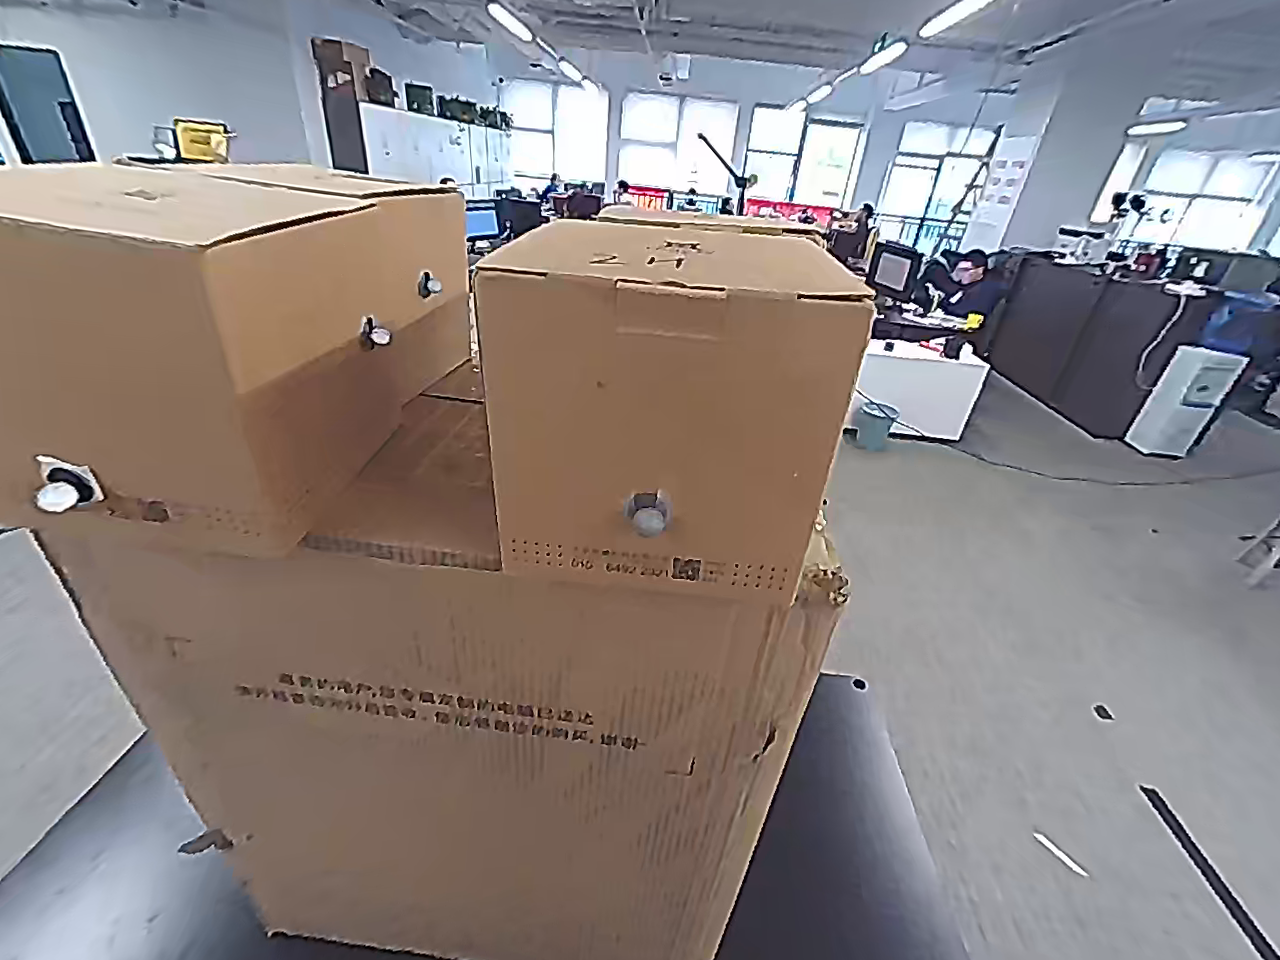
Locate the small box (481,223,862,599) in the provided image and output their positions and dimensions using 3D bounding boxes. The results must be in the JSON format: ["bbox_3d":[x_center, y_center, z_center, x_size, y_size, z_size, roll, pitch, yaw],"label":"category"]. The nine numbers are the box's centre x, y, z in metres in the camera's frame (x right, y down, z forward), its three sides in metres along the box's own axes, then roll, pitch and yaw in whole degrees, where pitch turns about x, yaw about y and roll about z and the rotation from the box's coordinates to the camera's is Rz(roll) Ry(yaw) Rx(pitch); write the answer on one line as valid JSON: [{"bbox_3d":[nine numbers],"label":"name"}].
[{"bbox_3d":[0.015,-0.053,0.338,0.168,0.176,0.179,5,32,3],"label":"small box"}]
